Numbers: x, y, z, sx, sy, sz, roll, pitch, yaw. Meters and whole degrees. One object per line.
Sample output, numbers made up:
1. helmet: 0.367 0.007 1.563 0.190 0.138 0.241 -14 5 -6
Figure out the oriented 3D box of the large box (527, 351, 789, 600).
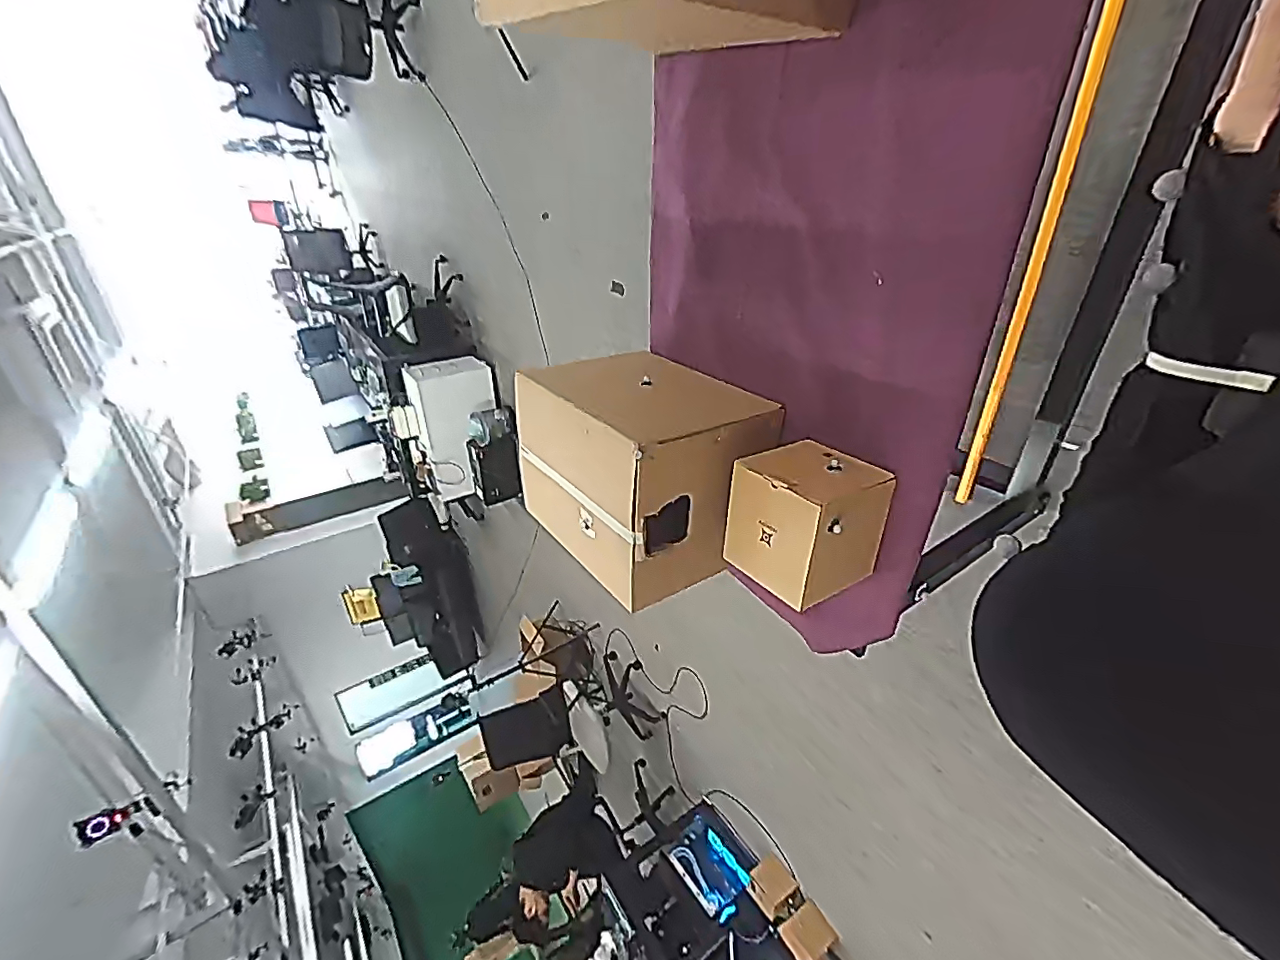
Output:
1. large box: 0.017 -0.044 1.050 0.408 0.320 0.320 33 132 44
